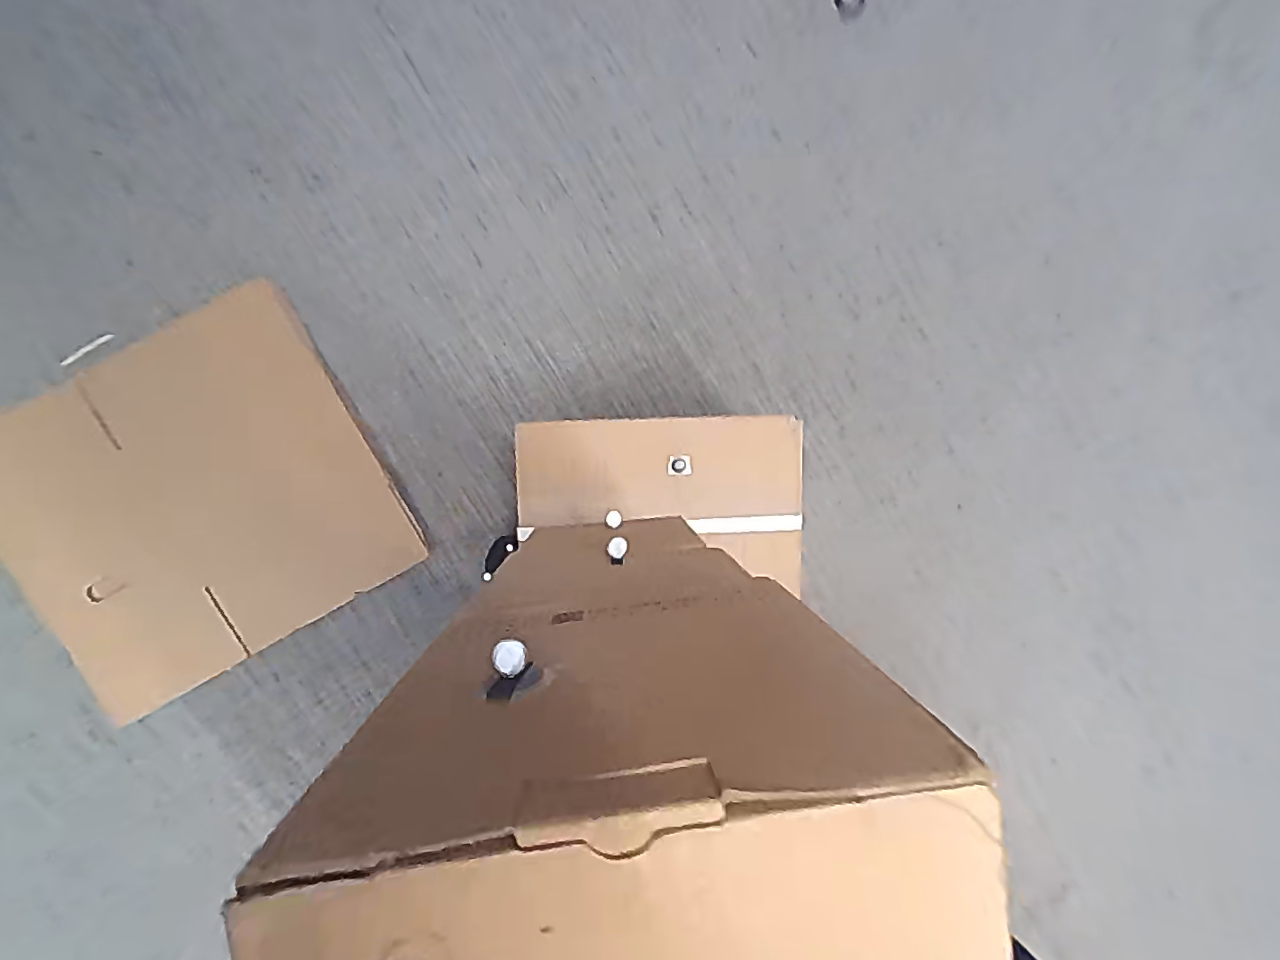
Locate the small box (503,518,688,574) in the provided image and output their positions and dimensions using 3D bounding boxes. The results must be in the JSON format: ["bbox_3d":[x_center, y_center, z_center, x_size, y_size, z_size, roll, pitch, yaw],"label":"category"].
[{"bbox_3d":[-0.026,0.140,0.526,0.168,0.176,0.179,-6,93,-2],"label":"small box"}]

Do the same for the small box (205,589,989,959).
[{"bbox_3d":[-0.002,0.148,0.201,0.168,0.176,0.179,-8,95,-1],"label":"small box"}]

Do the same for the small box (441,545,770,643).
[{"bbox_3d":[-0.015,0.143,0.366,0.179,0.176,0.168,-5,93,-3],"label":"small box"}]
